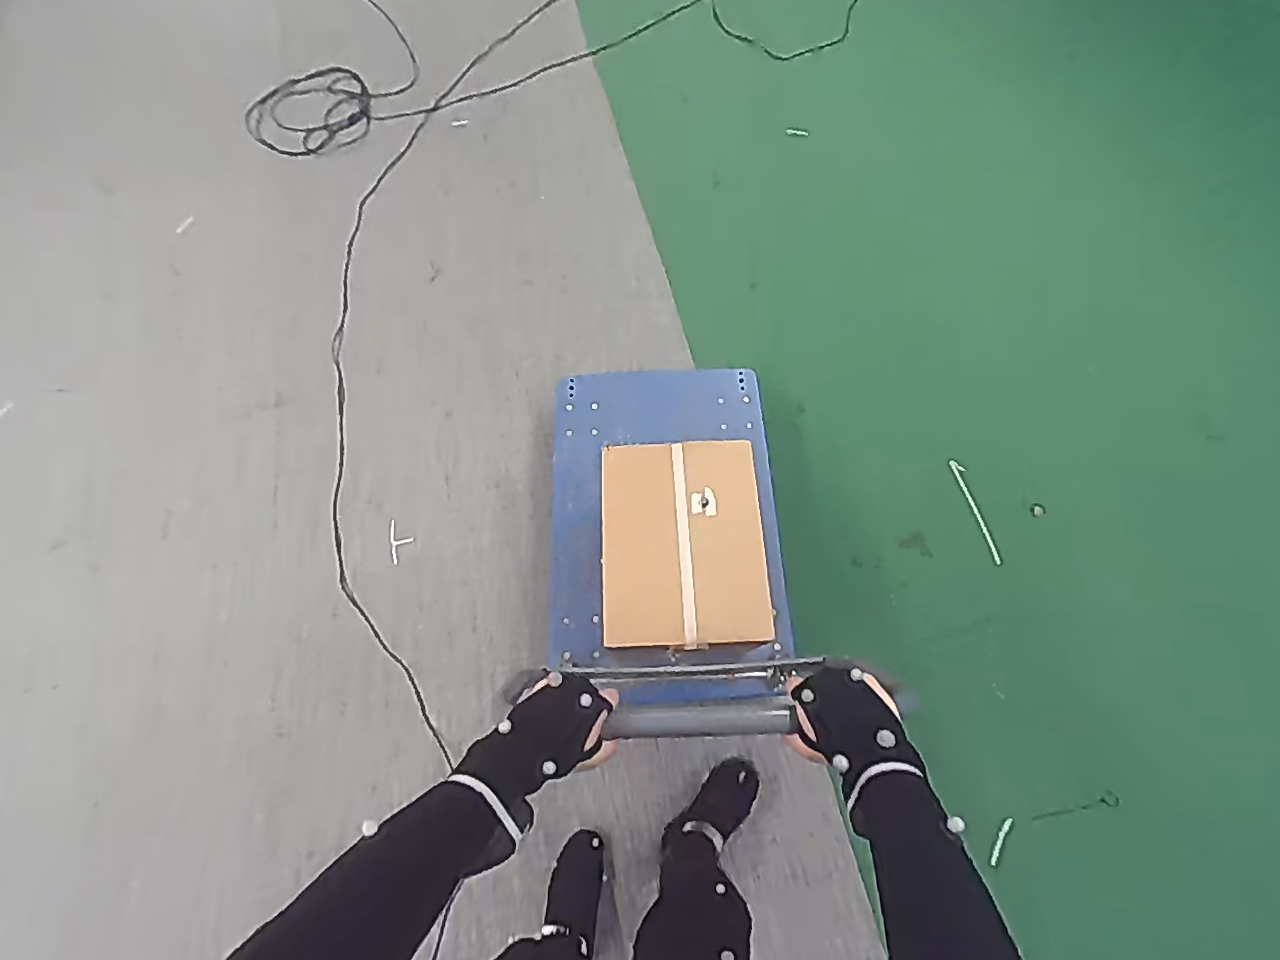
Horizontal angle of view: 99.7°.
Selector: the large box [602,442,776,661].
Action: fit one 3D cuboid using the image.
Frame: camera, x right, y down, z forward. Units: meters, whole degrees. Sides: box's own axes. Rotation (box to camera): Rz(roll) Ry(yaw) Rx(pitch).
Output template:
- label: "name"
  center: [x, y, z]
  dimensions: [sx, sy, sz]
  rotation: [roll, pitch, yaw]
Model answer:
- label: "large box"
  center: [0.088, 0.169, 1.192]
  dimensions: [0.320, 0.320, 0.408]
  rotation: [-2, 67, -1]
